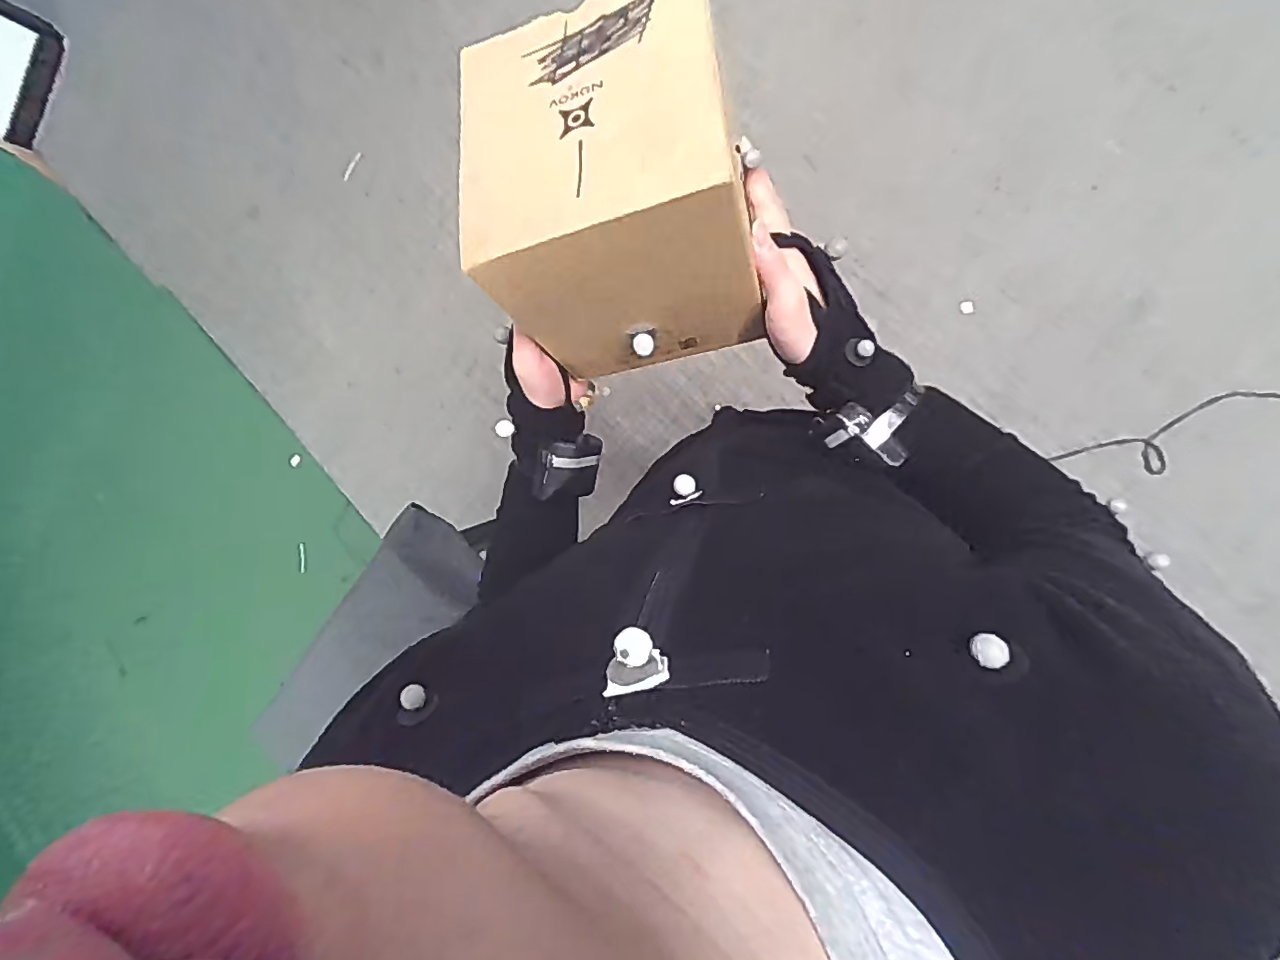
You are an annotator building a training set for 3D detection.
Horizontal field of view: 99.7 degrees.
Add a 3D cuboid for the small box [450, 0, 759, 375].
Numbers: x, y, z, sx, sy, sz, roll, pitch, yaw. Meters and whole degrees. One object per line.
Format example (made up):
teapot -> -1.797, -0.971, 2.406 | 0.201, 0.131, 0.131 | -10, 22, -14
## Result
small box -> -0.014, -0.200, 0.391 | 0.168, 0.176, 0.179 | -9, 75, 18
